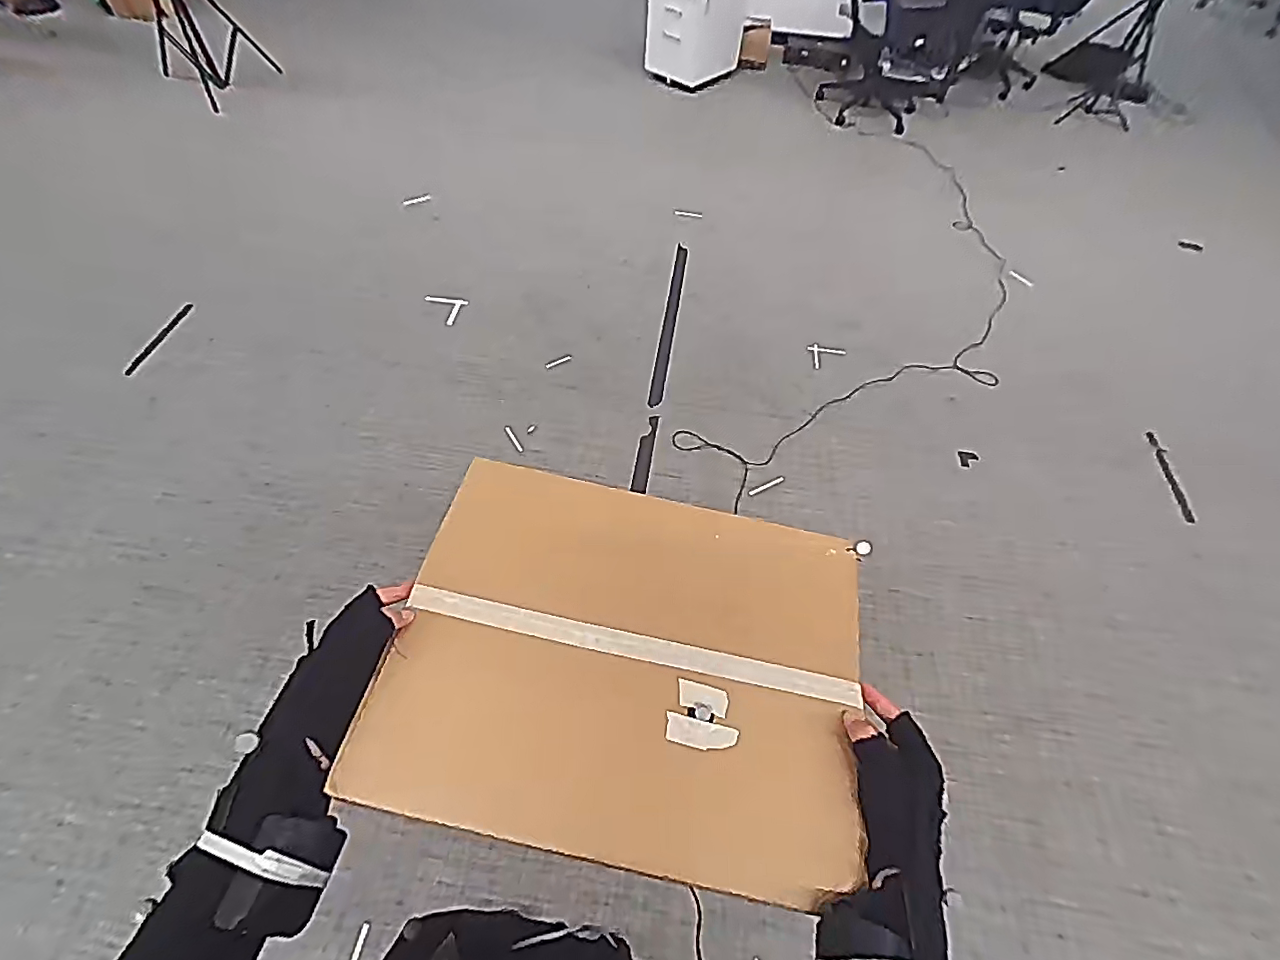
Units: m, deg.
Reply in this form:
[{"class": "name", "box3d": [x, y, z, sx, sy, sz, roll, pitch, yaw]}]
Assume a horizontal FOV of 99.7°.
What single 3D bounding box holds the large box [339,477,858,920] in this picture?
[{"class": "large box", "box3d": [-0.023, 0.240, 0.604, 0.408, 0.320, 0.320, 13, 57, 1]}]
